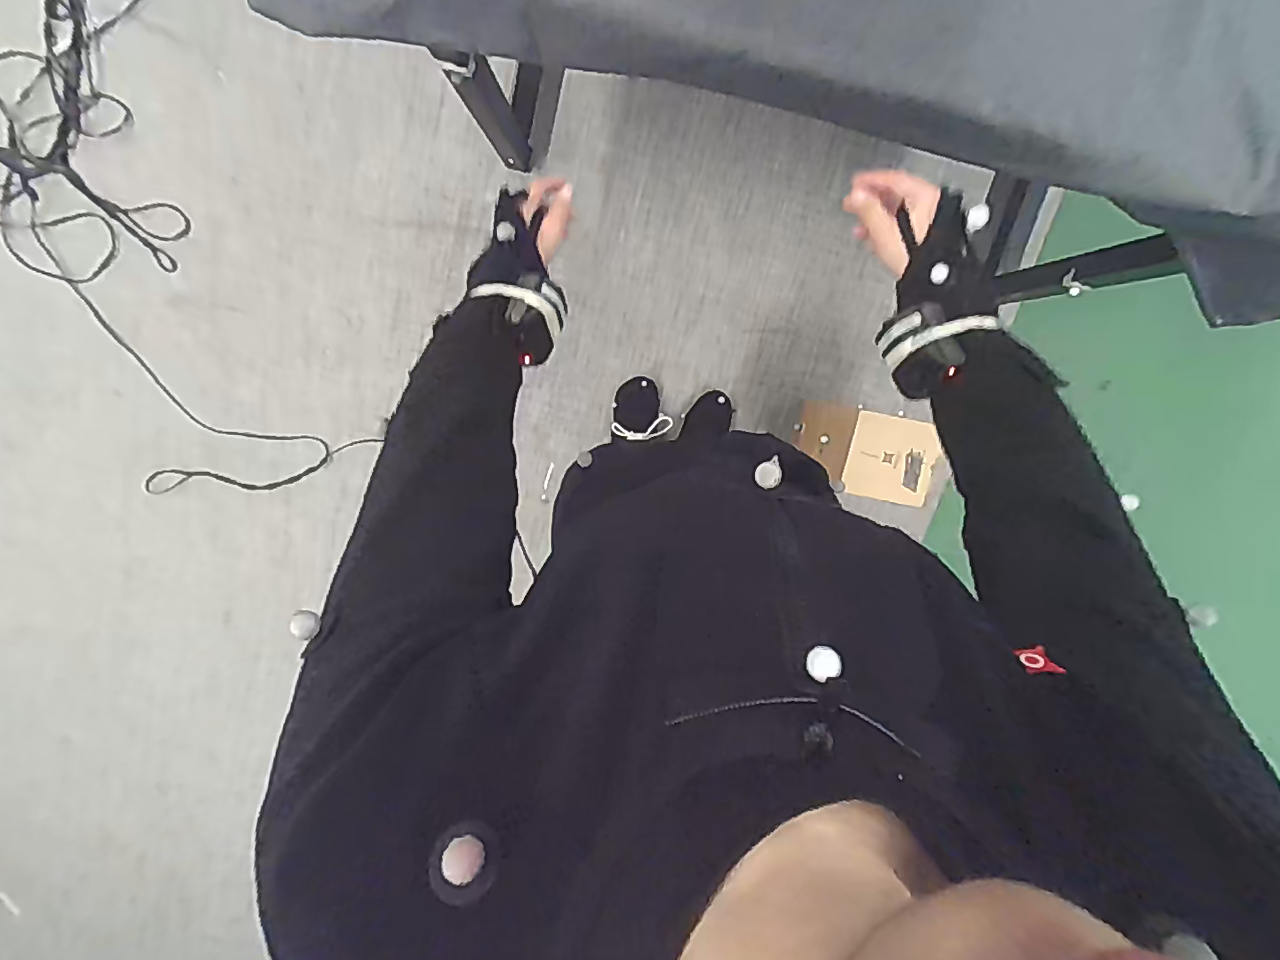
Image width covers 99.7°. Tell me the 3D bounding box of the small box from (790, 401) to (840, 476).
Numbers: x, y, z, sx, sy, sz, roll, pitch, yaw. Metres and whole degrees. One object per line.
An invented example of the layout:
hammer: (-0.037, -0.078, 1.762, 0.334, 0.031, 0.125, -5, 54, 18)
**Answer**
small box: (0.477, -0.090, 1.276, 0.179, 0.176, 0.168, 11, 101, -2)

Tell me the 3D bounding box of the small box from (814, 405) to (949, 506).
small box: (0.487, -0.058, 1.115, 0.179, 0.176, 0.168, 11, 101, -2)
